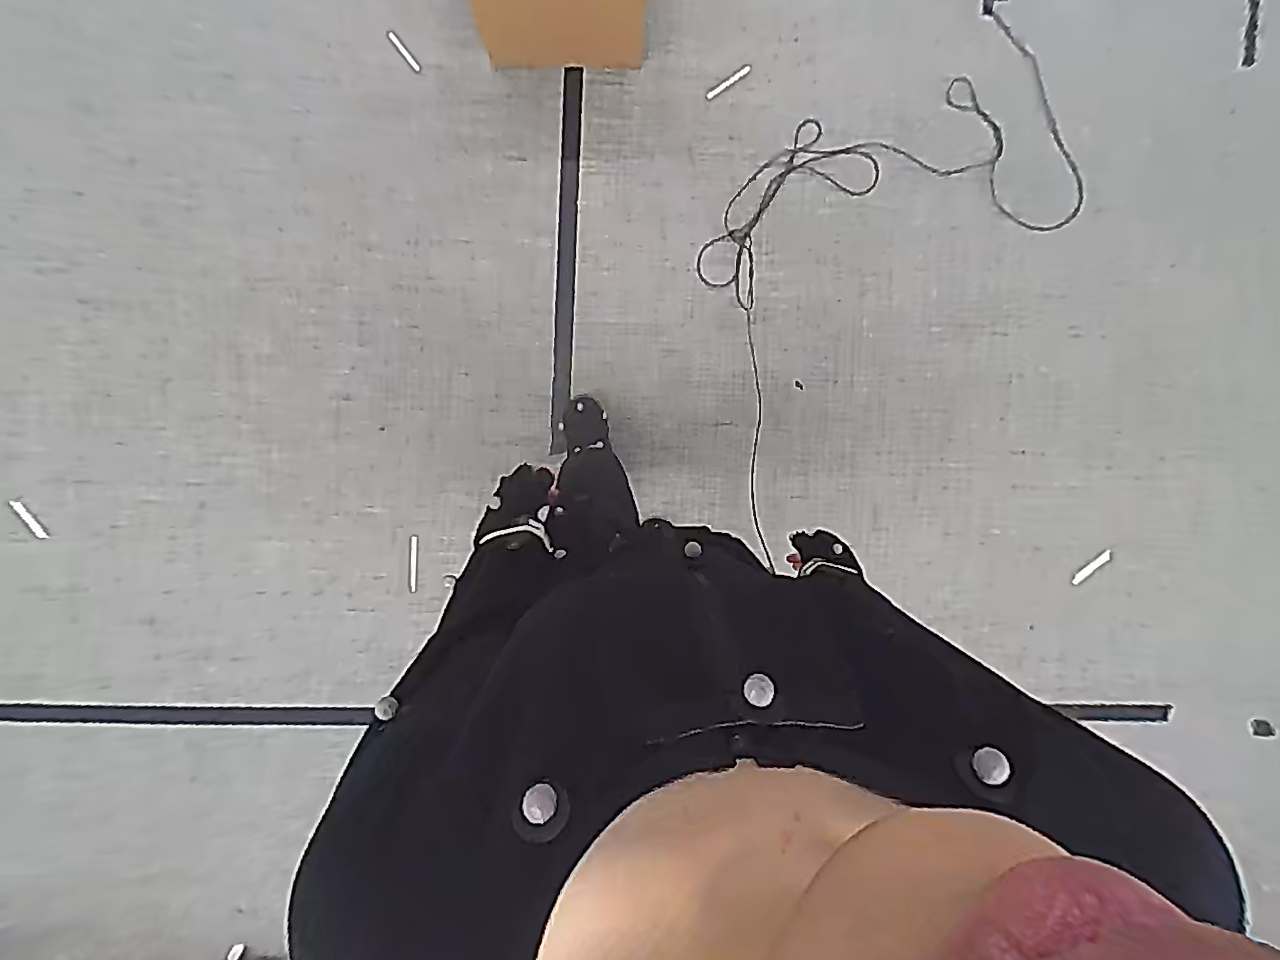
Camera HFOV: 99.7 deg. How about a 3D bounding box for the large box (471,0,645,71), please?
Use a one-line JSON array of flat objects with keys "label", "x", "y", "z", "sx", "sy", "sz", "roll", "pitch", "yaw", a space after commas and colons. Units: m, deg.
[{"label": "large box", "x": -0.198, "y": -1.245, "z": 1.295, "sx": 0.408, "sy": 0.320, "sz": 0.320, "roll": -2, "pitch": 92, "yaw": -2}]
